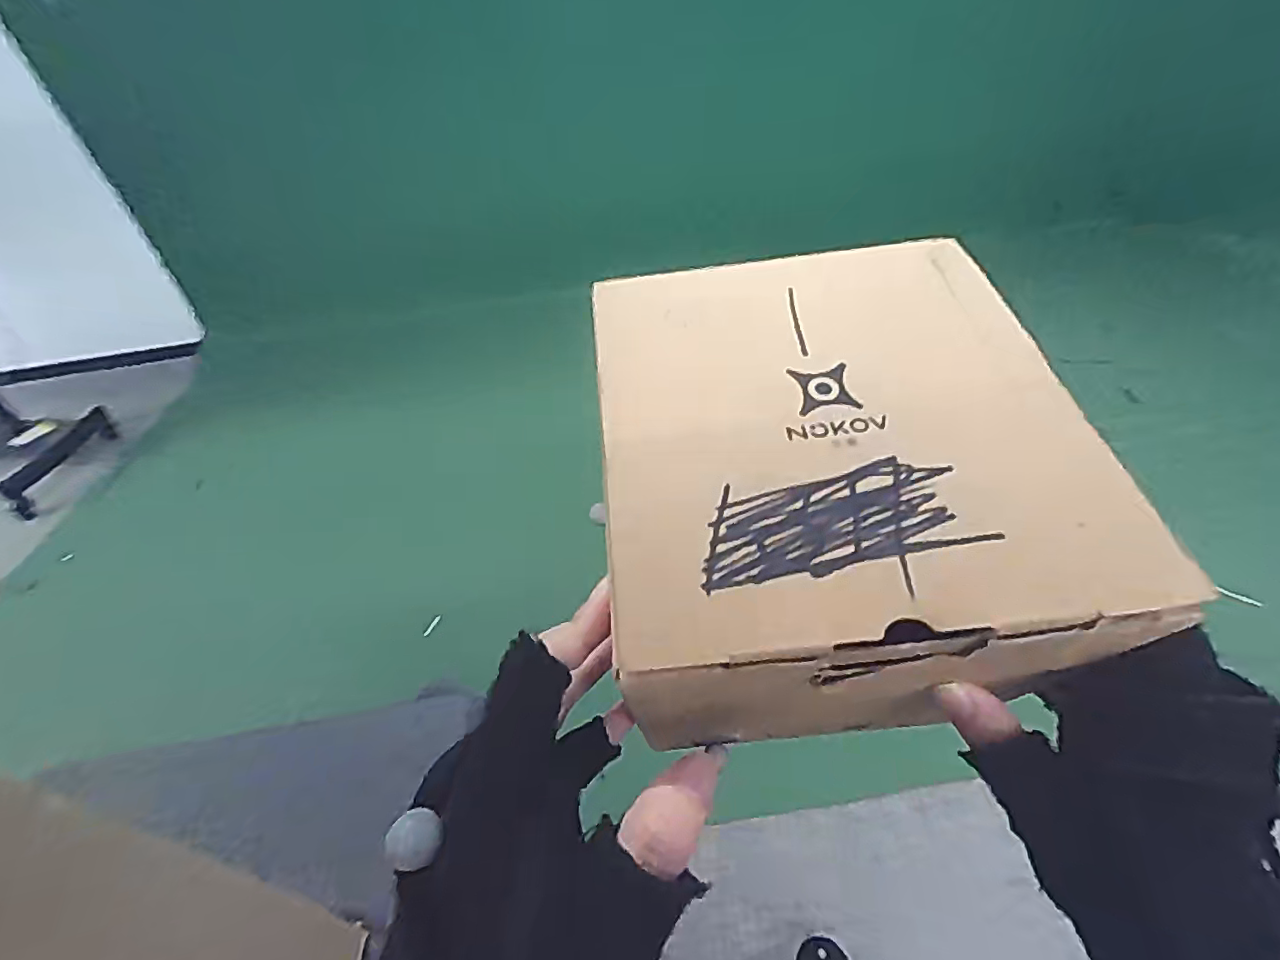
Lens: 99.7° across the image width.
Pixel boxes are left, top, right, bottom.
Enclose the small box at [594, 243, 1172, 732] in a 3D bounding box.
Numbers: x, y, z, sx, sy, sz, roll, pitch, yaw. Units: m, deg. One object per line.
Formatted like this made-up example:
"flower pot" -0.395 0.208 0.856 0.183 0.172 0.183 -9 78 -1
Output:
"small box" 0.073 0.019 0.267 0.168 0.176 0.179 -7 57 3
